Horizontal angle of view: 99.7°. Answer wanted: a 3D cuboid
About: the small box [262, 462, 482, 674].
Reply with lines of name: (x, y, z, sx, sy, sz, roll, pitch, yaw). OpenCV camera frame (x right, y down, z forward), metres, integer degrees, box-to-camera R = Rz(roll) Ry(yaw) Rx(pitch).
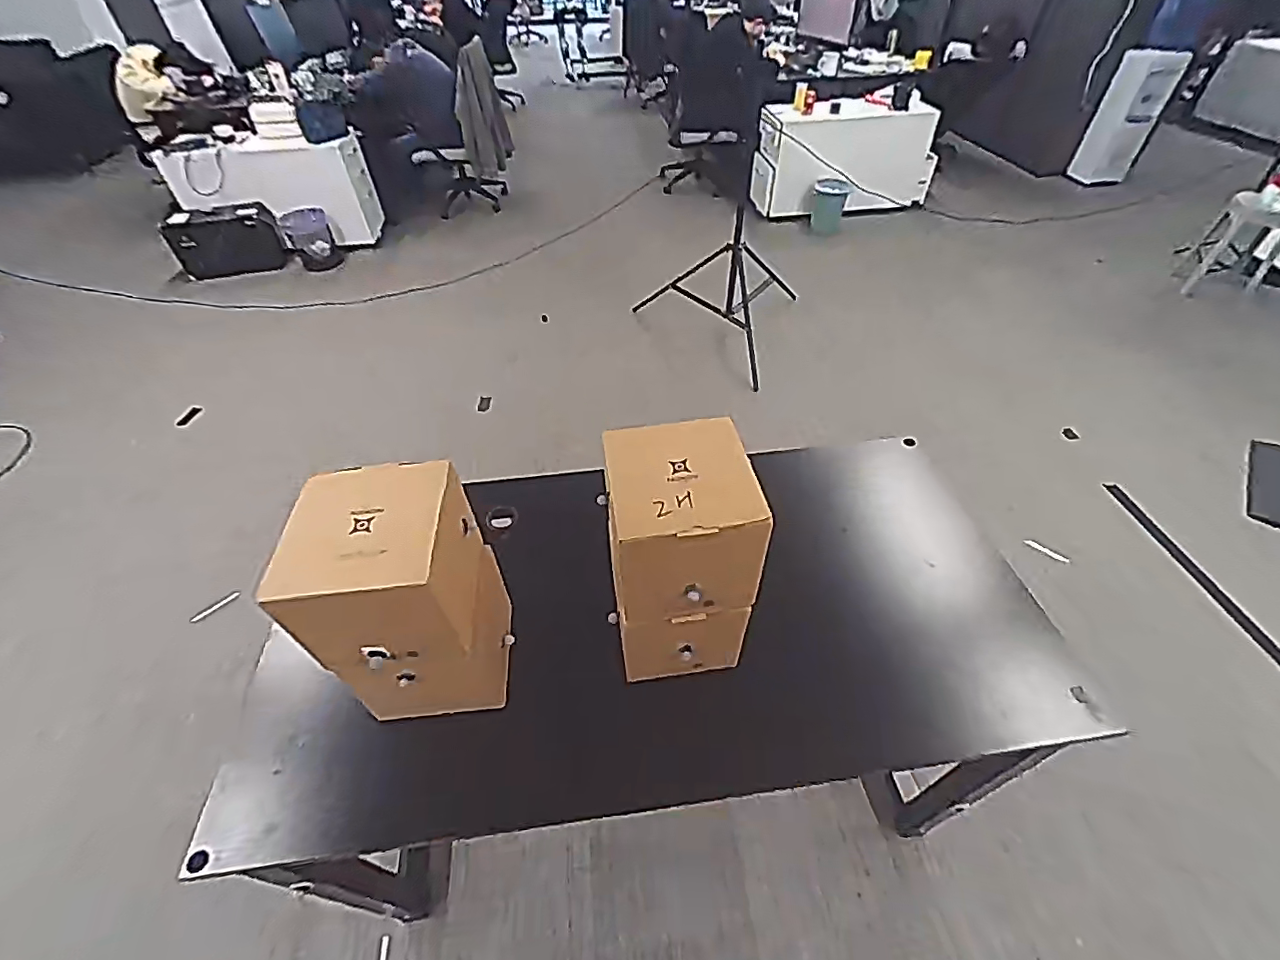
small box: (-0.292, 0.104, 0.639, 0.168, 0.176, 0.179, -7, 47, -3)

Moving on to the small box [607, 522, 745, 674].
small box: (0.046, 0.168, 0.796, 0.168, 0.176, 0.179, -7, 46, -5)

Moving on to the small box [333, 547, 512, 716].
small box: (-0.286, 0.215, 0.757, 0.179, 0.176, 0.168, -5, 46, -4)

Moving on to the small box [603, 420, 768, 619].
small box: (0.046, 0.049, 0.680, 0.168, 0.176, 0.179, -8, 46, -5)
